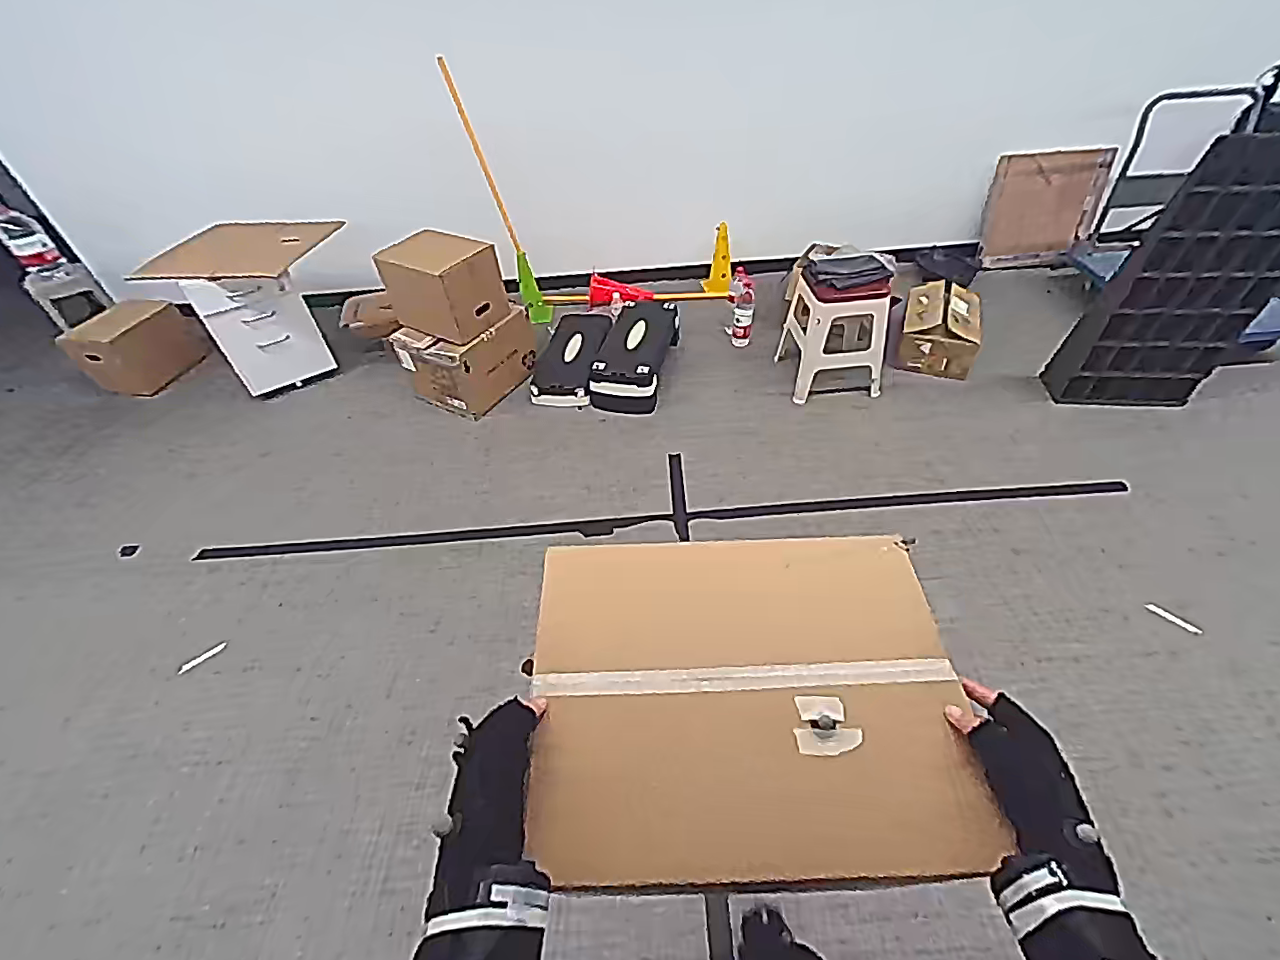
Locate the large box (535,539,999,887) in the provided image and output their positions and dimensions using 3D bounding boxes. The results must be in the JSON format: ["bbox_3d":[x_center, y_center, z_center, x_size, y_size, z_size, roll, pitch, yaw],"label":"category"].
[{"bbox_3d":[0.104,0.291,0.662,0.408,0.320,0.320,-2,52,0],"label":"large box"}]
